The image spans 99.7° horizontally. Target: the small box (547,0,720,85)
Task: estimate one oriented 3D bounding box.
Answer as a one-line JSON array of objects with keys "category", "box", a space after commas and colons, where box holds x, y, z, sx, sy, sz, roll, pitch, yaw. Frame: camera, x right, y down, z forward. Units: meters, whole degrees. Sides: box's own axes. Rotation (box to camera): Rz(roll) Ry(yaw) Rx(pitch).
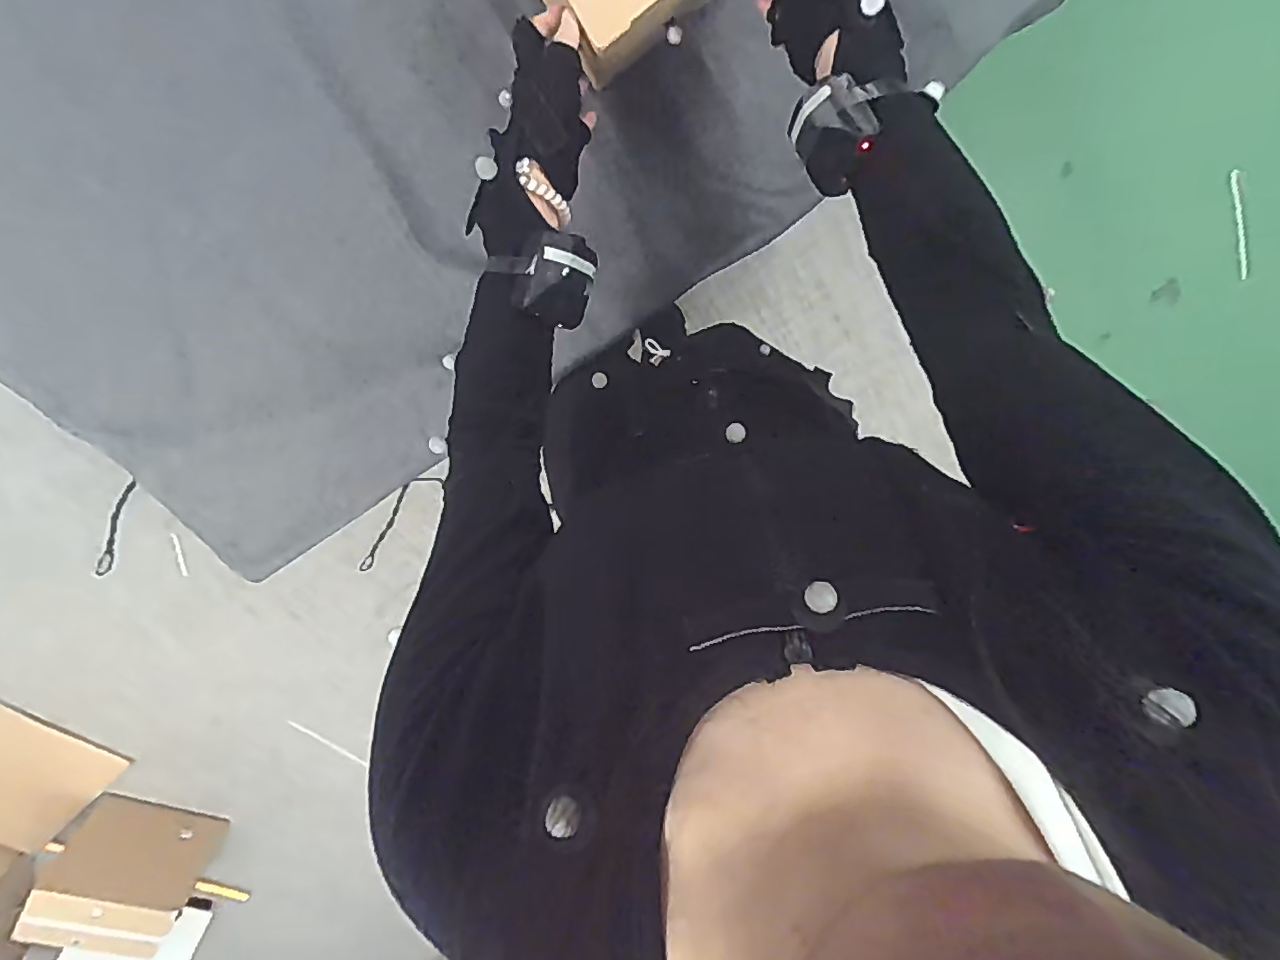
[{"category": "small box", "box": [-0.016, -0.464, 0.429, 0.168, 0.176, 0.179, -32, 114, 12]}]
